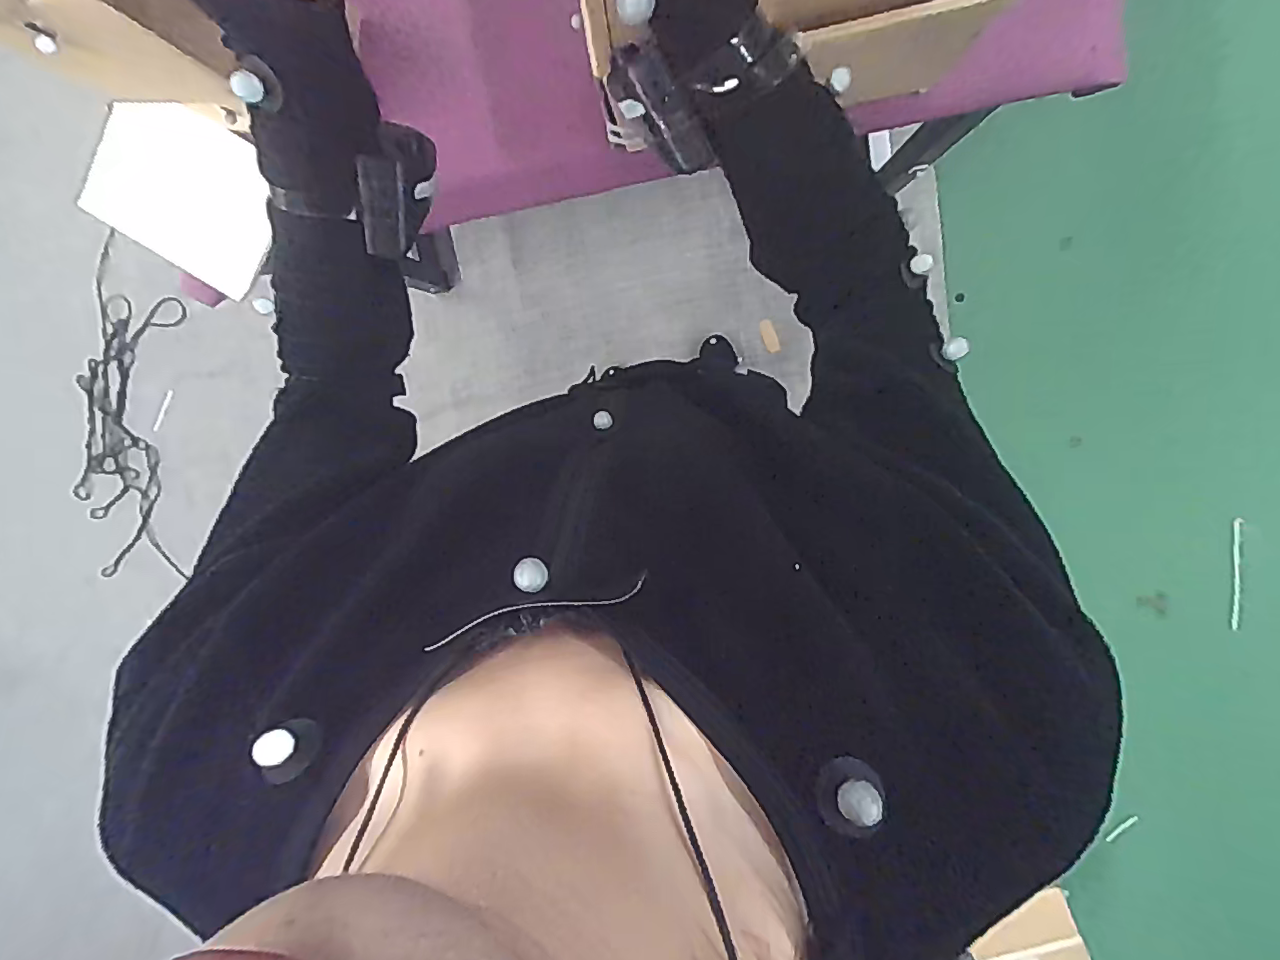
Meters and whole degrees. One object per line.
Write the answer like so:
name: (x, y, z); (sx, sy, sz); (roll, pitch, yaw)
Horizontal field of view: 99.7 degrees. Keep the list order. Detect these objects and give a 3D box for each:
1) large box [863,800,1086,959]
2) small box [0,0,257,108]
large box: (0.917, 1.191, 1.514); (0.408, 0.320, 0.320); (-24, 98, 8)
small box: (-0.475, -0.457, 0.476); (0.179, 0.176, 0.168); (4, 101, 5)
